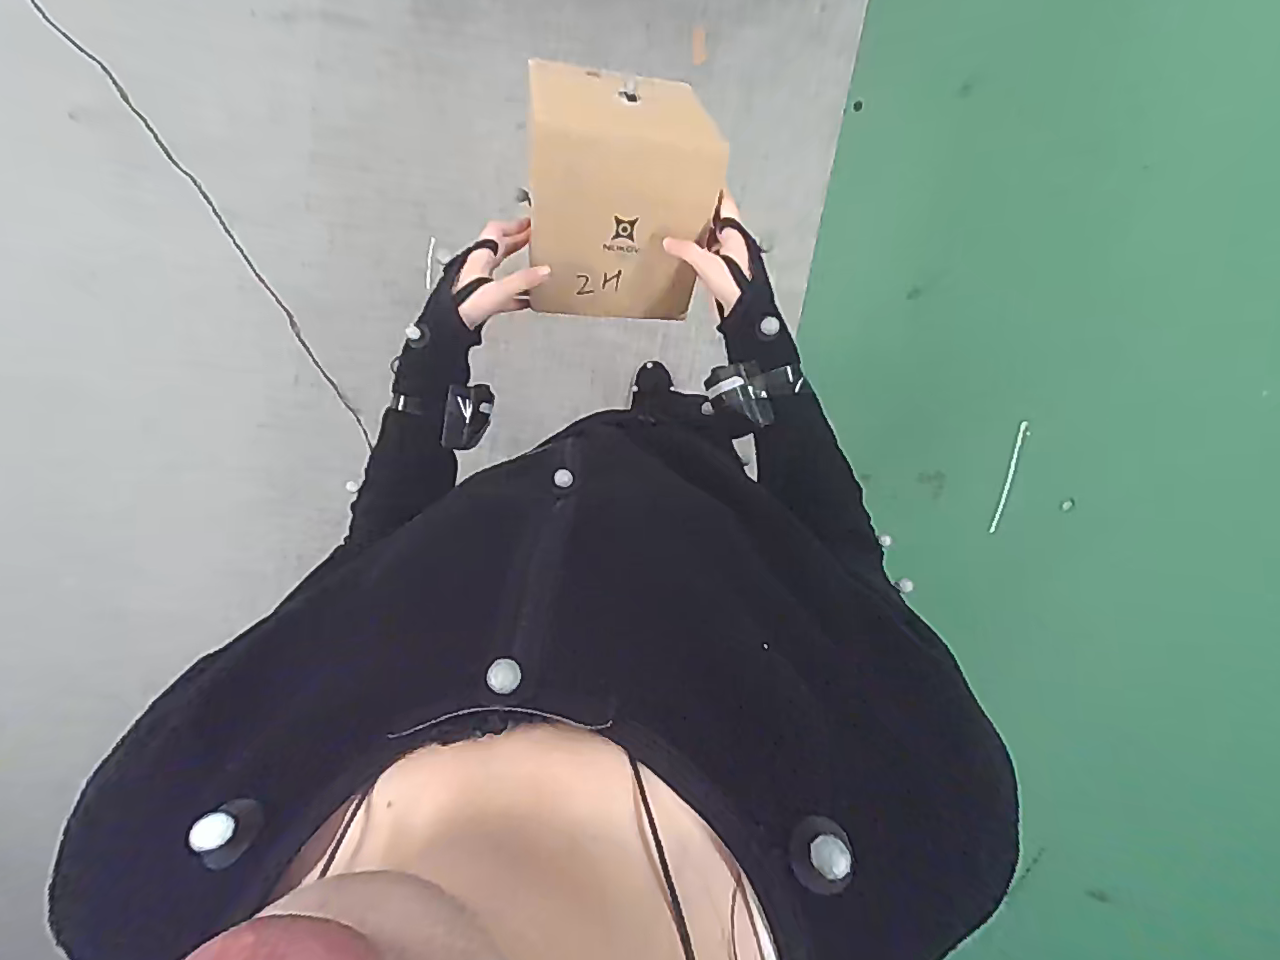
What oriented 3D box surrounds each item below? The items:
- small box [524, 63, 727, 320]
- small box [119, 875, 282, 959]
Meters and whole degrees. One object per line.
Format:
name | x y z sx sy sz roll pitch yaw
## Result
small box | -0.031 -0.289 0.549 0.168 0.176 0.179 0 142 -13
small box | -0.820 0.887 1.010 0.179 0.176 0.168 15 100 -3
